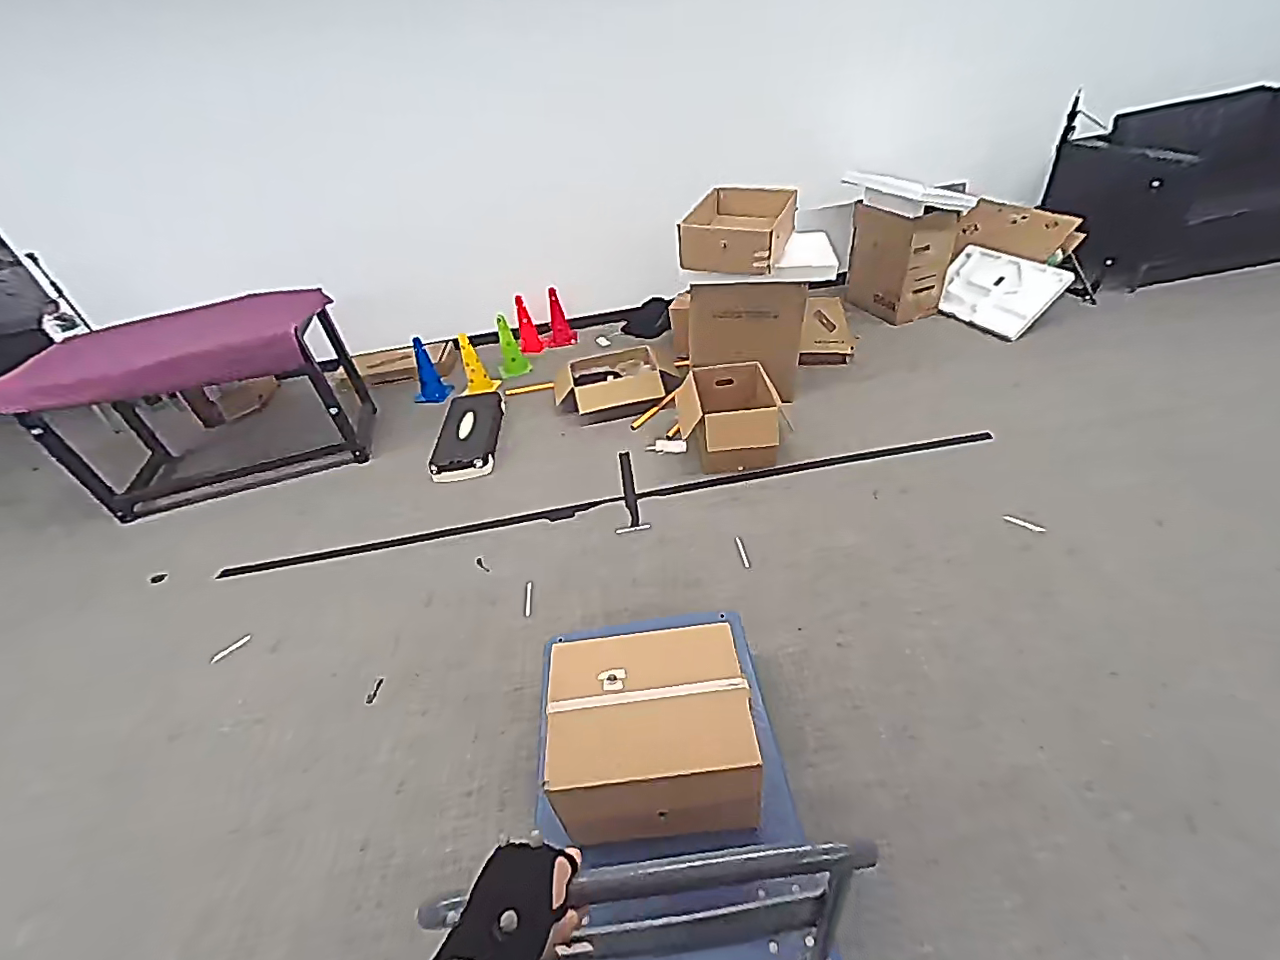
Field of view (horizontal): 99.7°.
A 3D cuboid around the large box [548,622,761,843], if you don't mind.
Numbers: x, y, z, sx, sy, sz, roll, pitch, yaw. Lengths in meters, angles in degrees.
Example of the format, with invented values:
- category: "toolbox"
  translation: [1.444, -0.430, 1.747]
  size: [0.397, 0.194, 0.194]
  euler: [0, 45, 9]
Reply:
- category: "large box"
  translation: [0.034, 0.561, 1.204]
  size: [0.408, 0.320, 0.320]
  euler: [-9, 38, 2]
